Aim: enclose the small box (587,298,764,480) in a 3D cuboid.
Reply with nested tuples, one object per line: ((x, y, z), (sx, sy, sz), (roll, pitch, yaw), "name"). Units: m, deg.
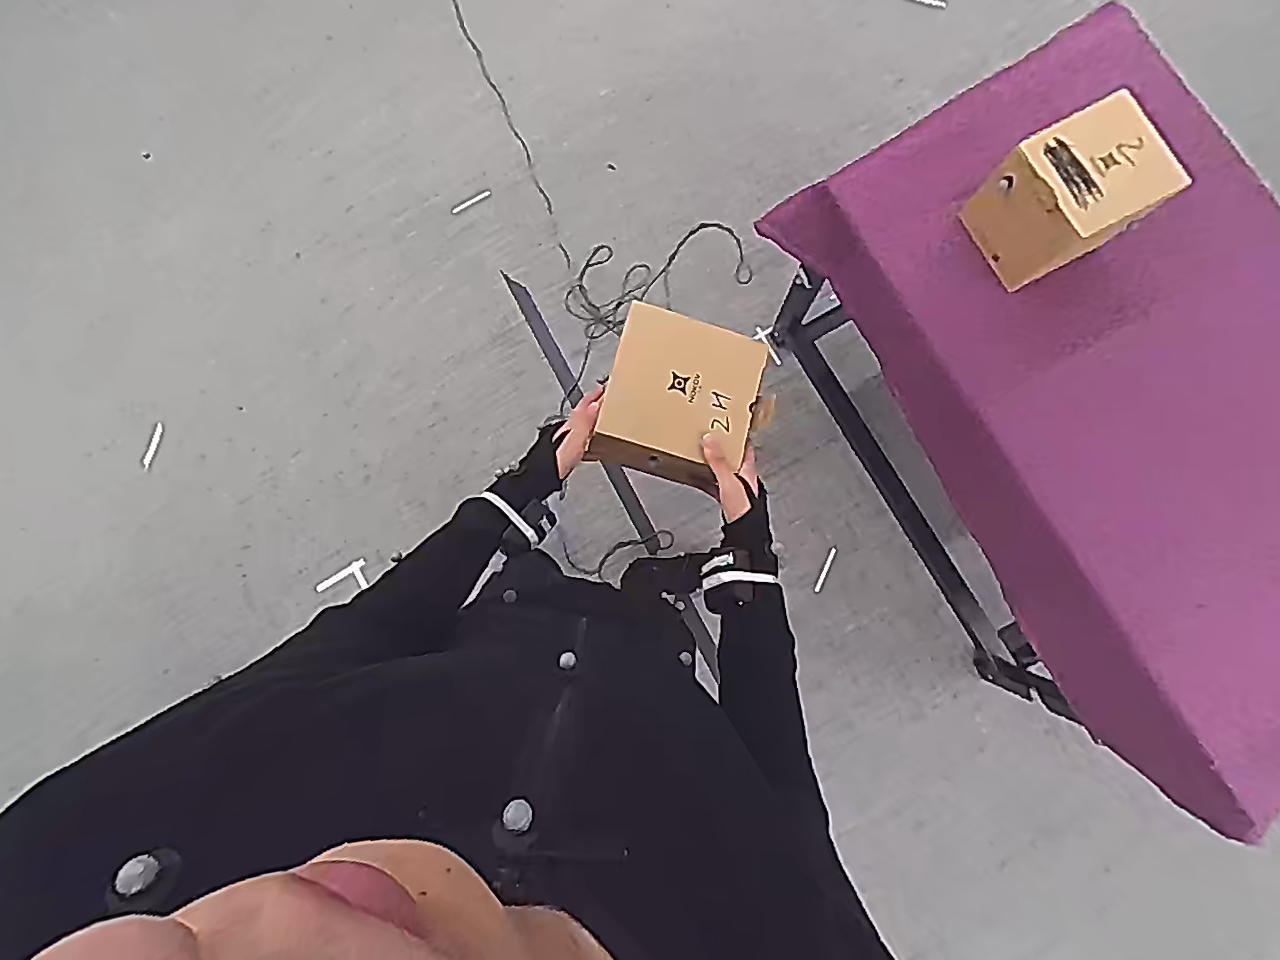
((0.034, -0.104, 0.704), (0.179, 0.176, 0.168), (16, 82, -7), "small box")
